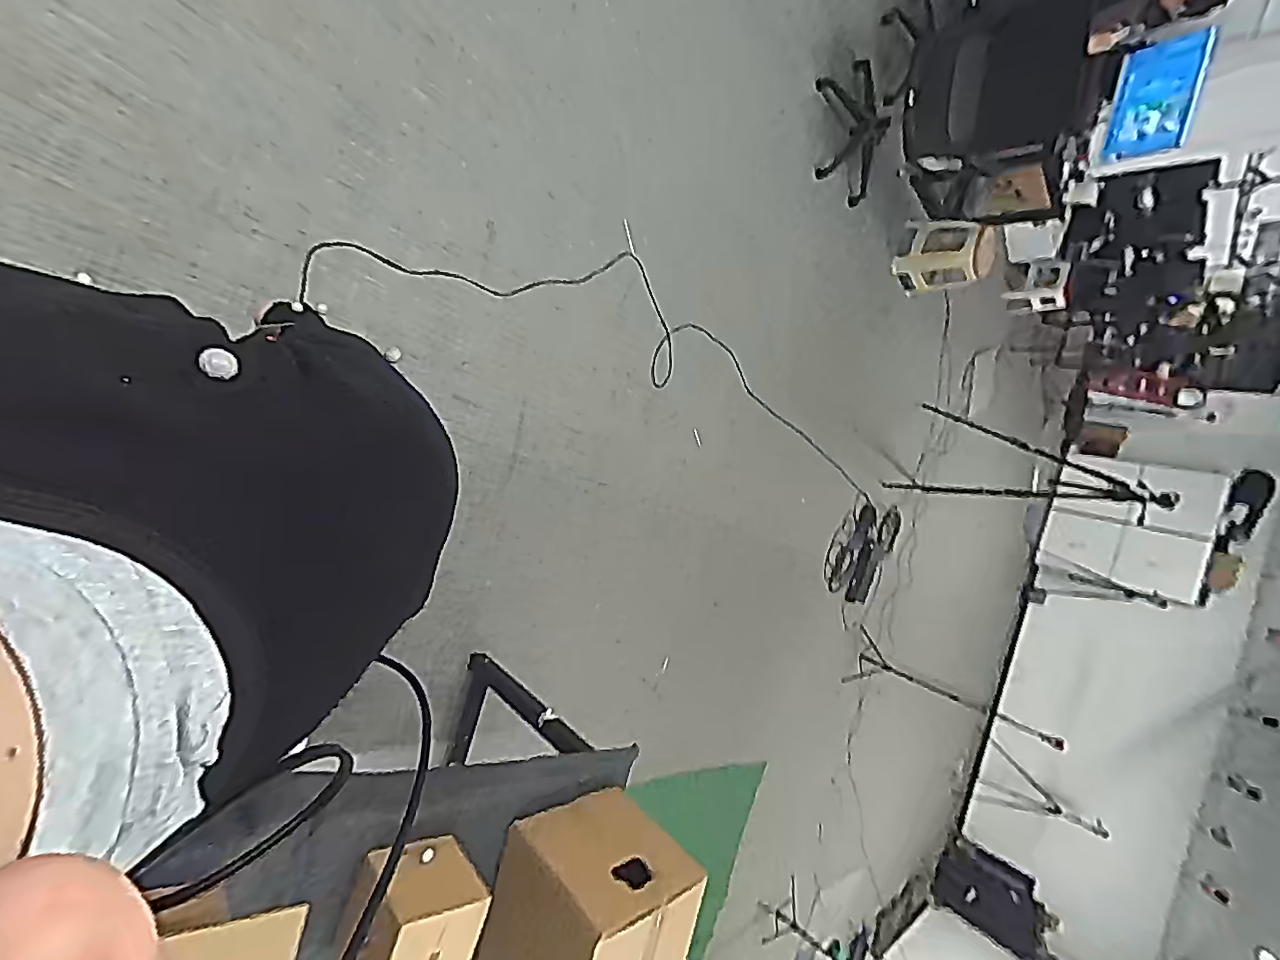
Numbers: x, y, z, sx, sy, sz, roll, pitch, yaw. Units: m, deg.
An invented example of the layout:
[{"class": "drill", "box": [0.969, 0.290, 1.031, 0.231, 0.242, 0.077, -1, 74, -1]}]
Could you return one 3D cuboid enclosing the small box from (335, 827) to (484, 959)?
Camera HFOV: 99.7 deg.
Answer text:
[{"class": "small box", "box": [-0.414, 0.765, 0.959, 0.168, 0.176, 0.179, 23, 86, -46]}]
